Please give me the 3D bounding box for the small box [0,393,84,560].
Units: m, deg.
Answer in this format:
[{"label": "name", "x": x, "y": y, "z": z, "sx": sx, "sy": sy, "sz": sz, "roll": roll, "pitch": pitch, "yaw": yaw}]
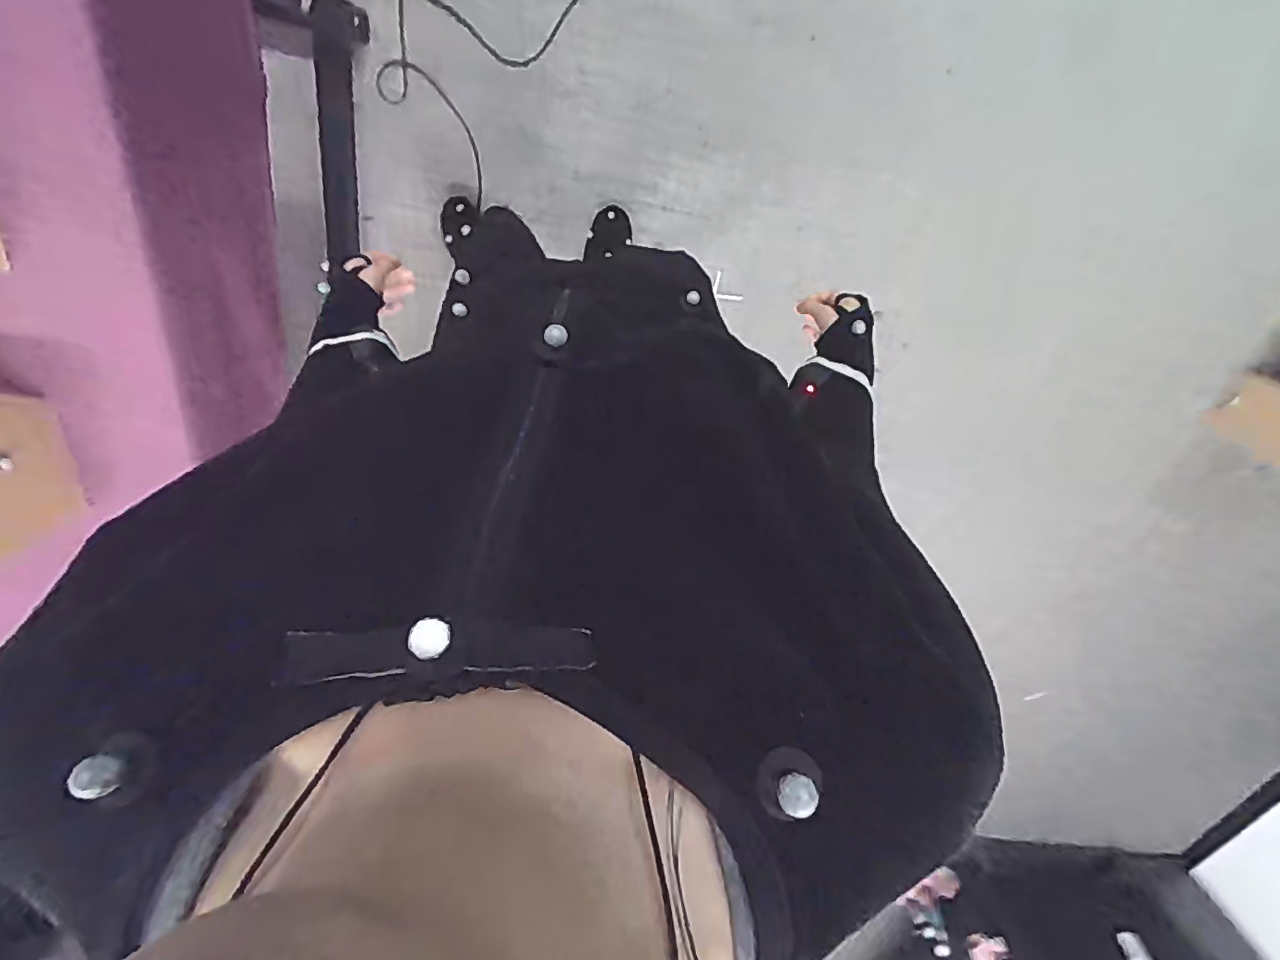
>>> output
[{"label": "small box", "x": -0.859, "y": -0.010, "z": 0.663, "sx": 0.168, "sy": 0.176, "sz": 0.179, "roll": 10, "pitch": 119, "yaw": -7}]
